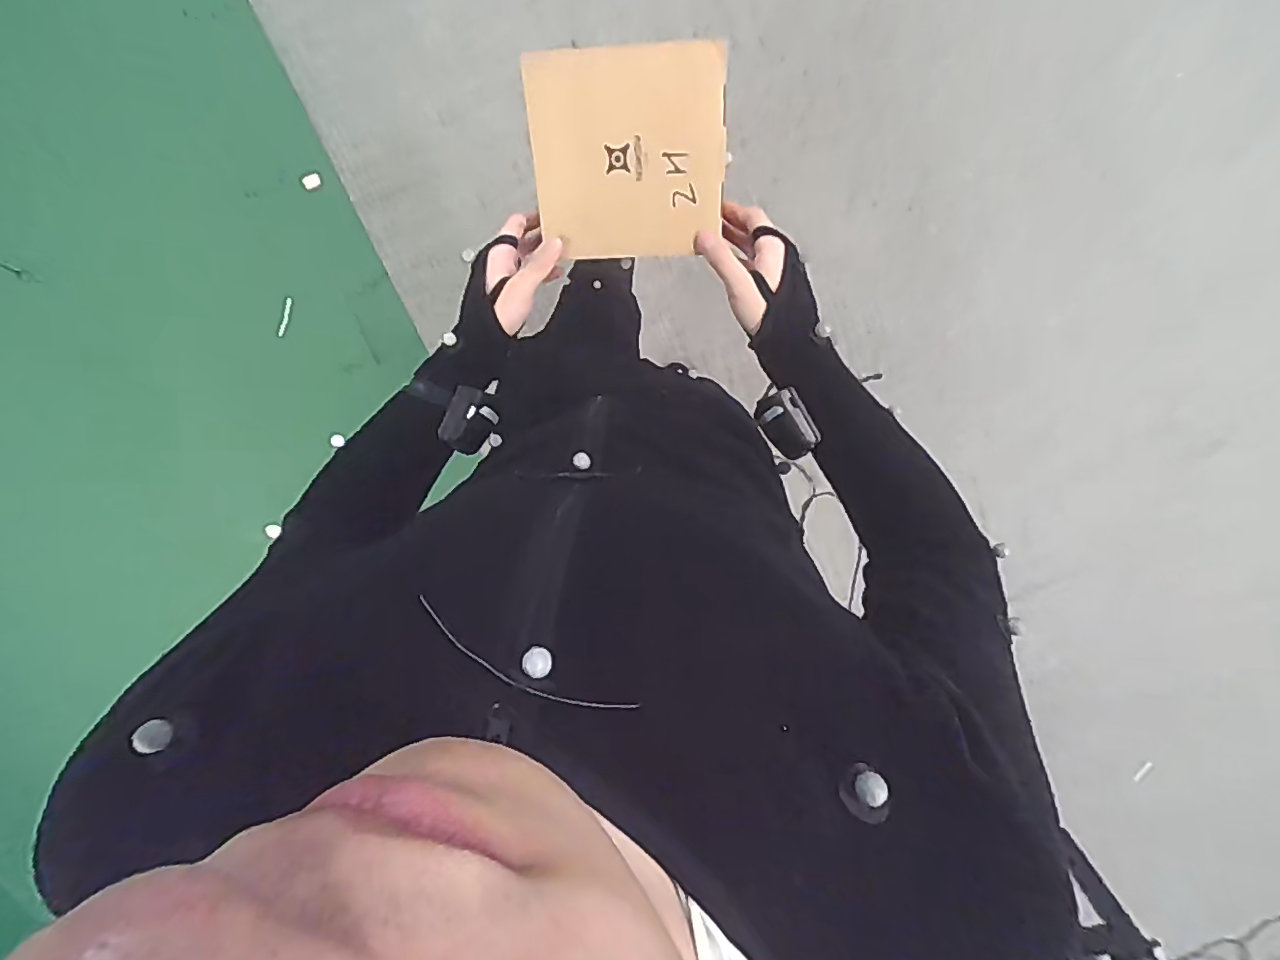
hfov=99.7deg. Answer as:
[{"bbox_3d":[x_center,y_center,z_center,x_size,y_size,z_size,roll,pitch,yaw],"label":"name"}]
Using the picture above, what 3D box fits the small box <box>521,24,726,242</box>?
[{"bbox_3d":[-0.006,-0.343,0.558,0.179,0.176,0.168,0,120,4],"label":"small box"}]
